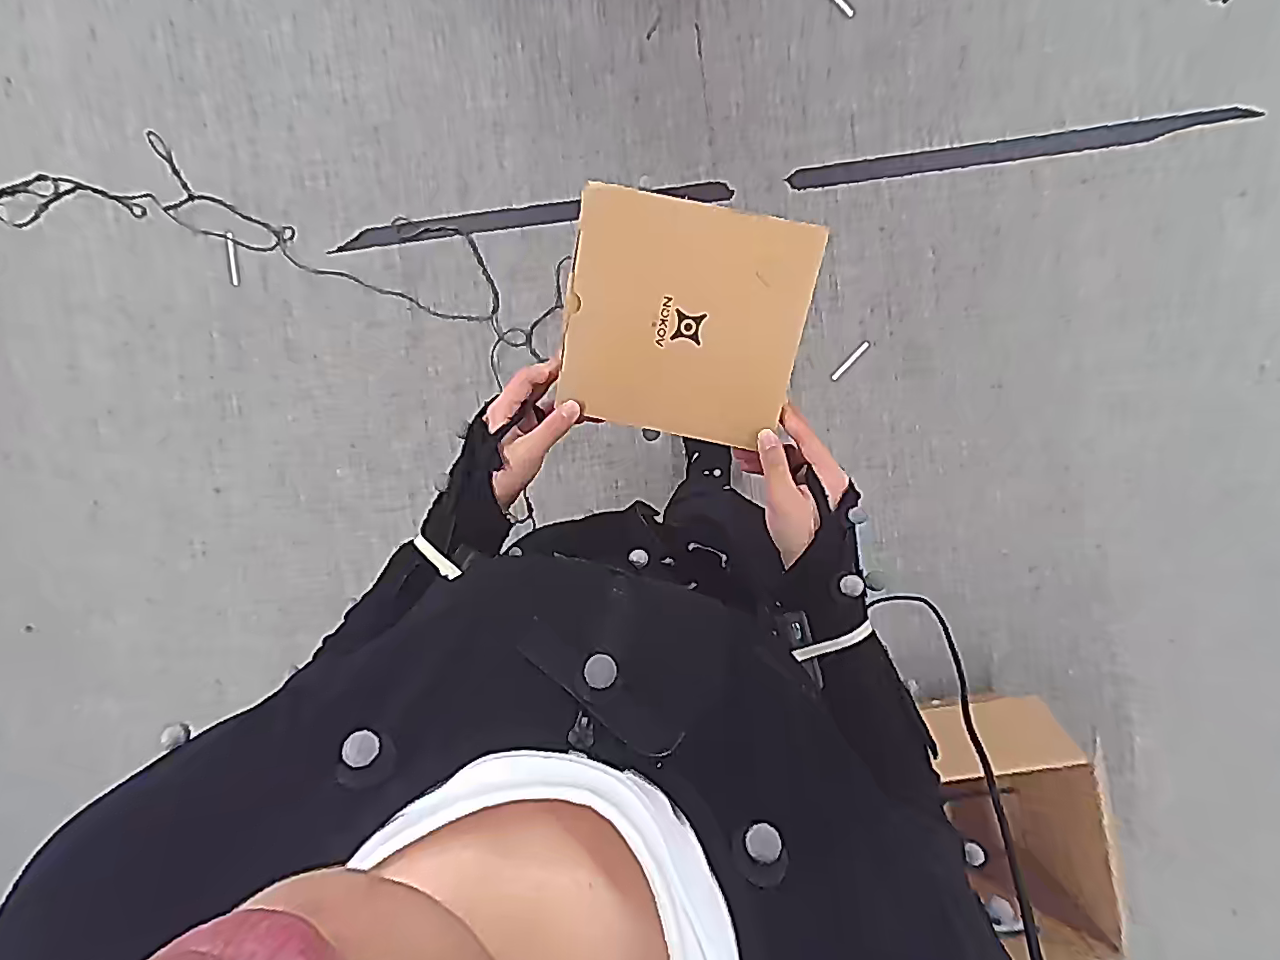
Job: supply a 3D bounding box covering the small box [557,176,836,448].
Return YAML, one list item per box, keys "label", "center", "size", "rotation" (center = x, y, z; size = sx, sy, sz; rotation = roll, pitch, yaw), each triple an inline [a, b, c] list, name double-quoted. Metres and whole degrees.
- label: "small box"
  center: [0.042, -0.141, 0.467]
  size: [0.179, 0.176, 0.168]
  rotation: [11, 108, 2]
